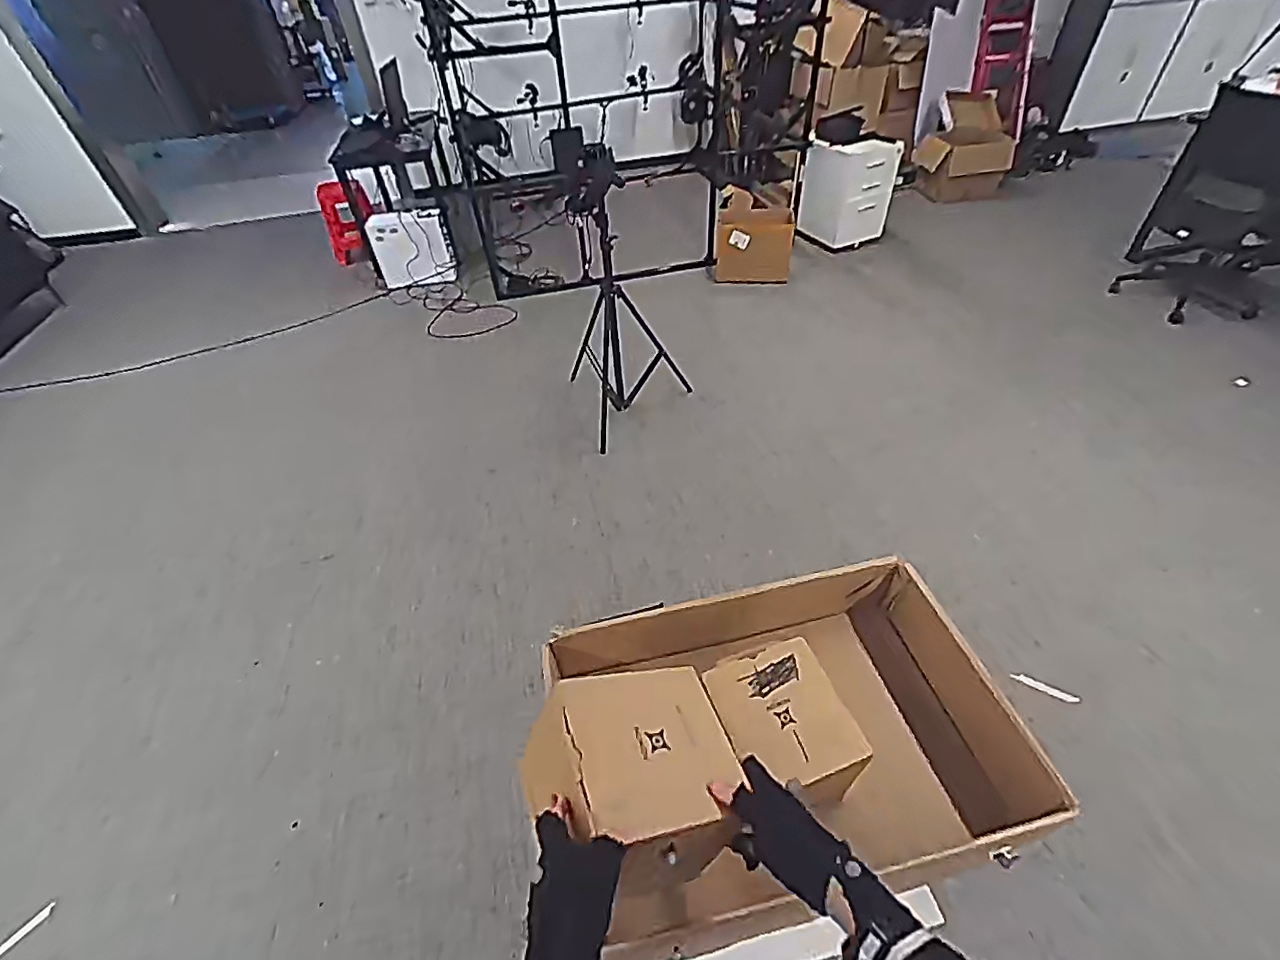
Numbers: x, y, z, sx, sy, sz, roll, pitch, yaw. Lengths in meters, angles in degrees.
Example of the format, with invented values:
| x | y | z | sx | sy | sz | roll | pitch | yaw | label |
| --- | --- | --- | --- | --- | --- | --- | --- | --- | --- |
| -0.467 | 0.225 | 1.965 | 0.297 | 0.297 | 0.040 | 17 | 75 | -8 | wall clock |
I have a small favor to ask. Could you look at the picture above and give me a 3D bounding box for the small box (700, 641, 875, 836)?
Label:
| x | y | z | sx | sy | sz | roll | pitch | yaw | label |
| --- | --- | --- | --- | --- | --- | --- | --- | --- | --- |
| 0.192 | 0.367 | 0.769 | 0.168 | 0.176 | 0.179 | -16 | 47 | -12 | small box |
